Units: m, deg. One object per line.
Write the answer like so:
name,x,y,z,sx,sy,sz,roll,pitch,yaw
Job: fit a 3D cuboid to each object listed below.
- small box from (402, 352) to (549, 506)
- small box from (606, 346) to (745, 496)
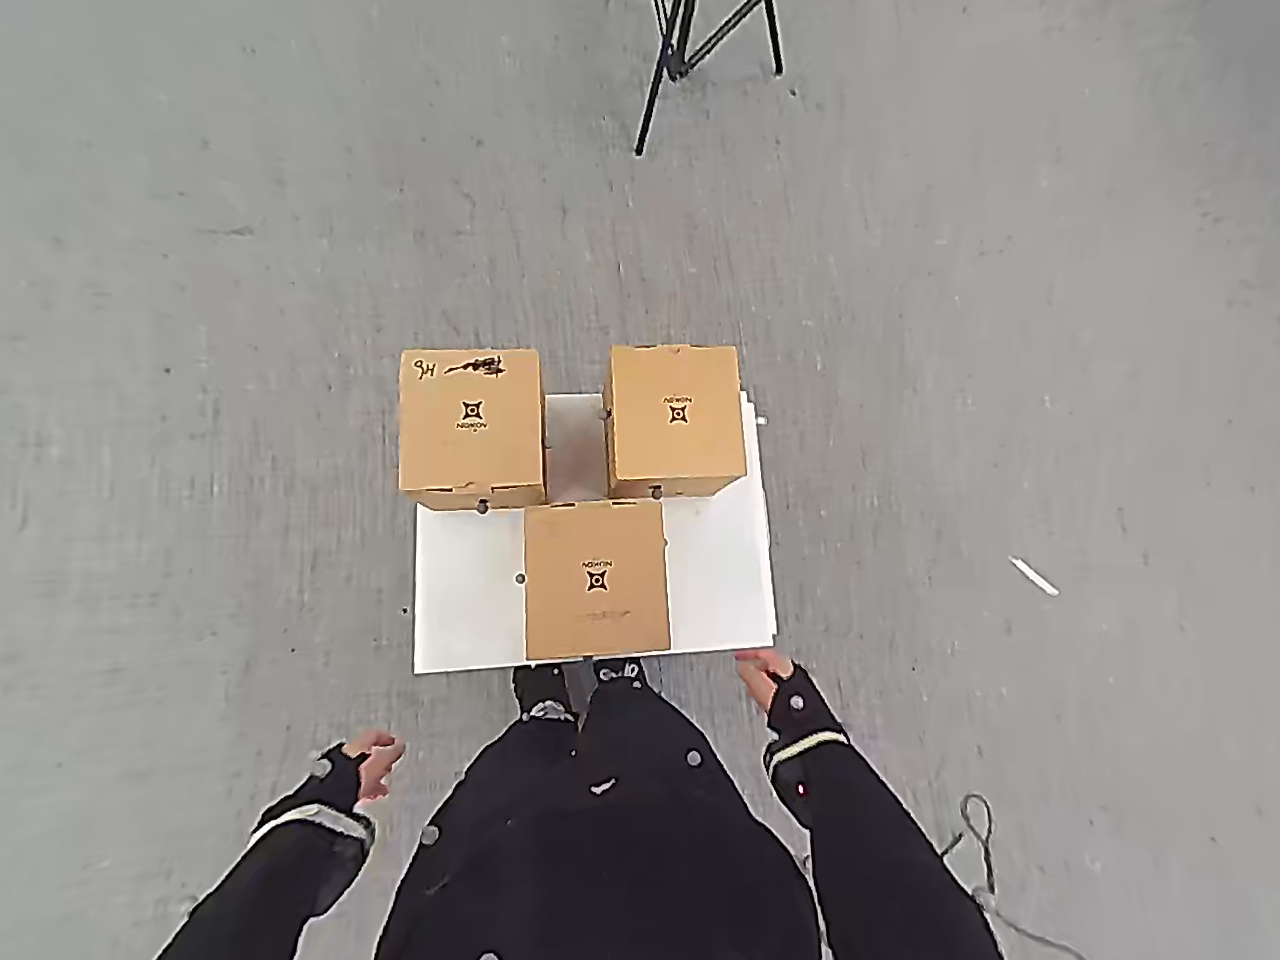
small box,-0.209,-0.058,0.725,0.168,0.176,0.179,-2,80,-9
small box,0.040,-0.072,0.760,0.168,0.176,0.179,-2,79,-7
